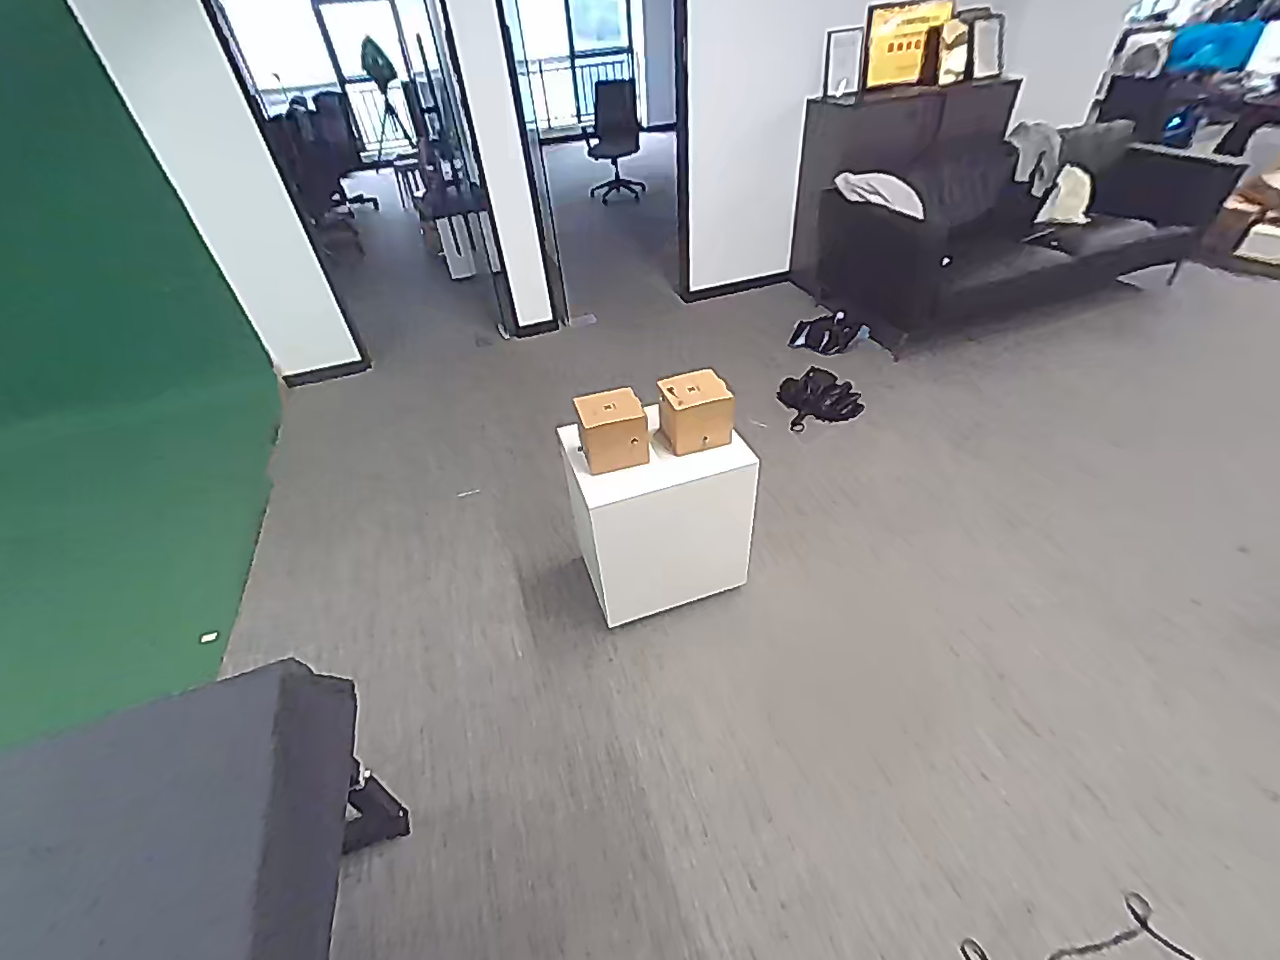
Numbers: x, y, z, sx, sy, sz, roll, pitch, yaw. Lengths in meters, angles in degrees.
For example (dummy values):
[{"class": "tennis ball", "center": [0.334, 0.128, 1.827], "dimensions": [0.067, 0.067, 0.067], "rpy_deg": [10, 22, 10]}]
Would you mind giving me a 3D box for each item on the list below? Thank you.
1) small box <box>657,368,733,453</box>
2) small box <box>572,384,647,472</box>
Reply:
[{"class": "small box", "center": [0.154, -0.203, 1.583], "dimensions": [0.179, 0.176, 0.168], "rpy_deg": [-14, 42, -12]}, {"class": "small box", "center": [-0.085, -0.148, 1.538], "dimensions": [0.179, 0.176, 0.168], "rpy_deg": [-14, 41, -12]}]
